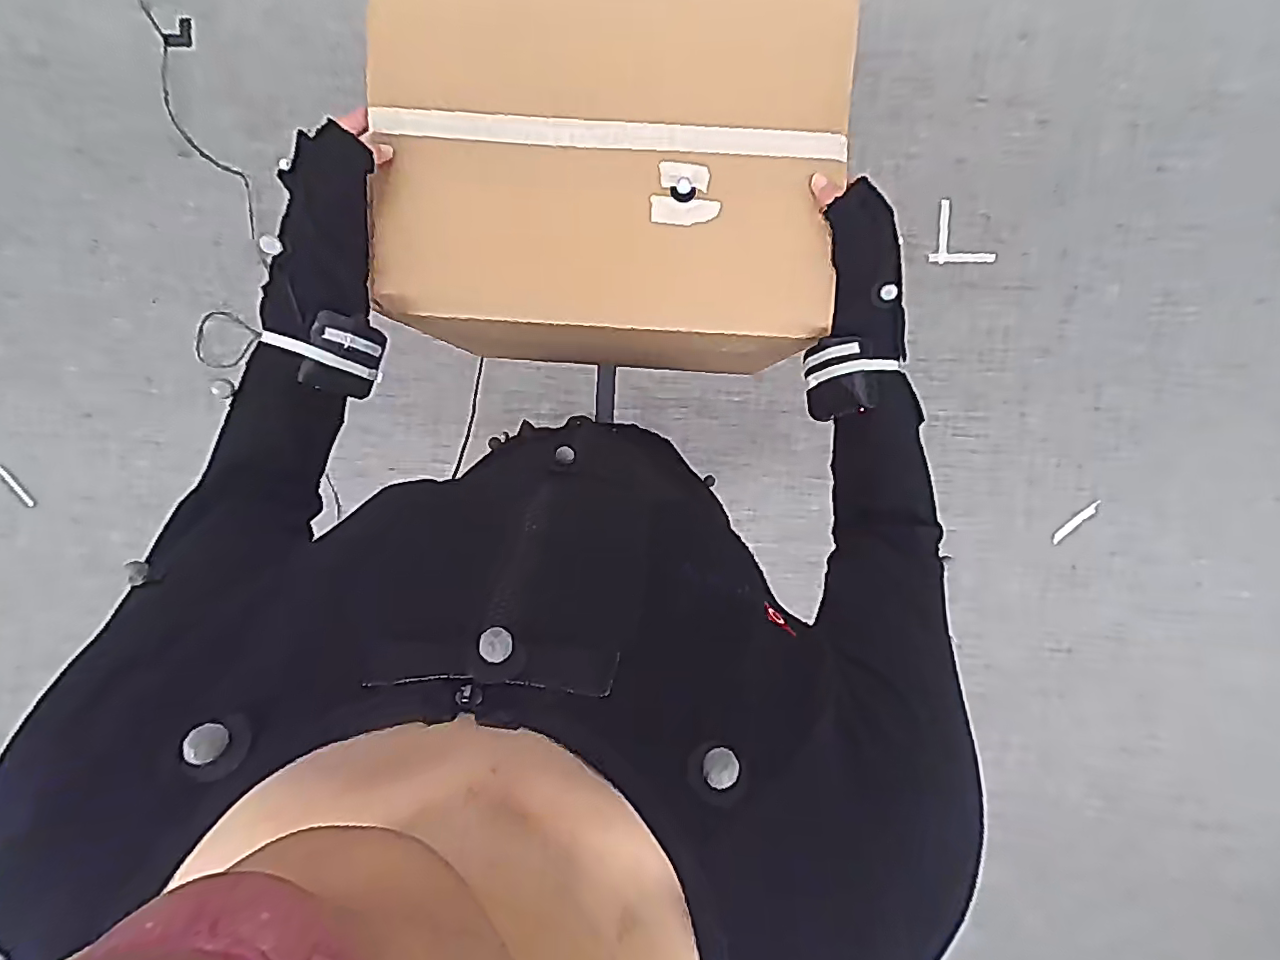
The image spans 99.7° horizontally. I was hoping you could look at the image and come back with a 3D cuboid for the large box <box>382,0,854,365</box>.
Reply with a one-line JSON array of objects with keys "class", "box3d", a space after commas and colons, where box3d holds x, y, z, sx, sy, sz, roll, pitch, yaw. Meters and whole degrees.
[{"class": "large box", "box3d": [-0.025, -0.313, 0.615, 0.408, 0.320, 0.320, 4, 96, -1]}]
